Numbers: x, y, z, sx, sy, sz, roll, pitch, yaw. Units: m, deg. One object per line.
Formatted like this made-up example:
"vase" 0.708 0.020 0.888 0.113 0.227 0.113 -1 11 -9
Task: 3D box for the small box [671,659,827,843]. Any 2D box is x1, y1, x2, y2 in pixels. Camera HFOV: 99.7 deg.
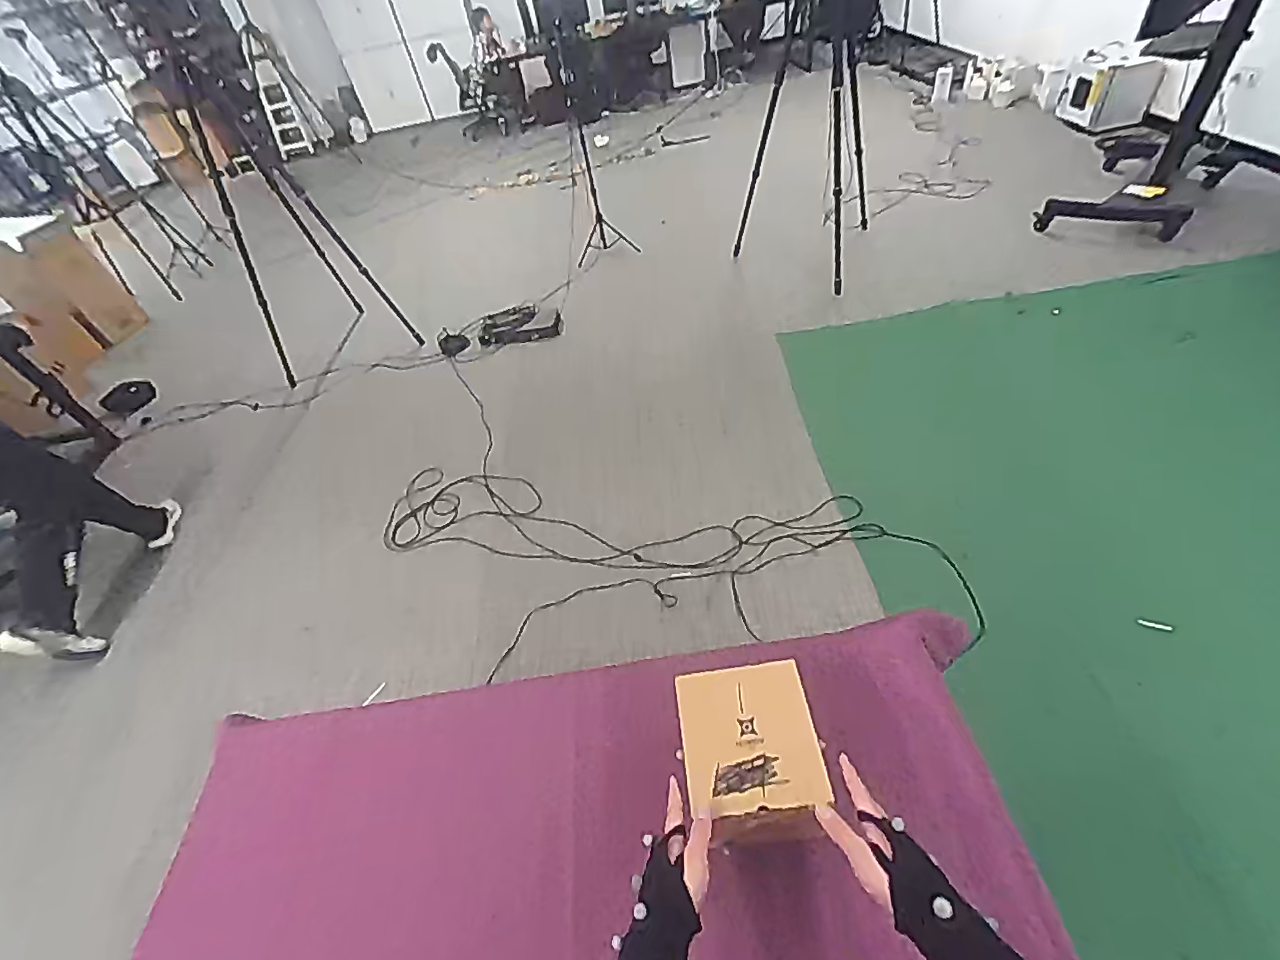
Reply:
"small box" 0.140 0.366 0.720 0.168 0.176 0.179 -10 45 4
